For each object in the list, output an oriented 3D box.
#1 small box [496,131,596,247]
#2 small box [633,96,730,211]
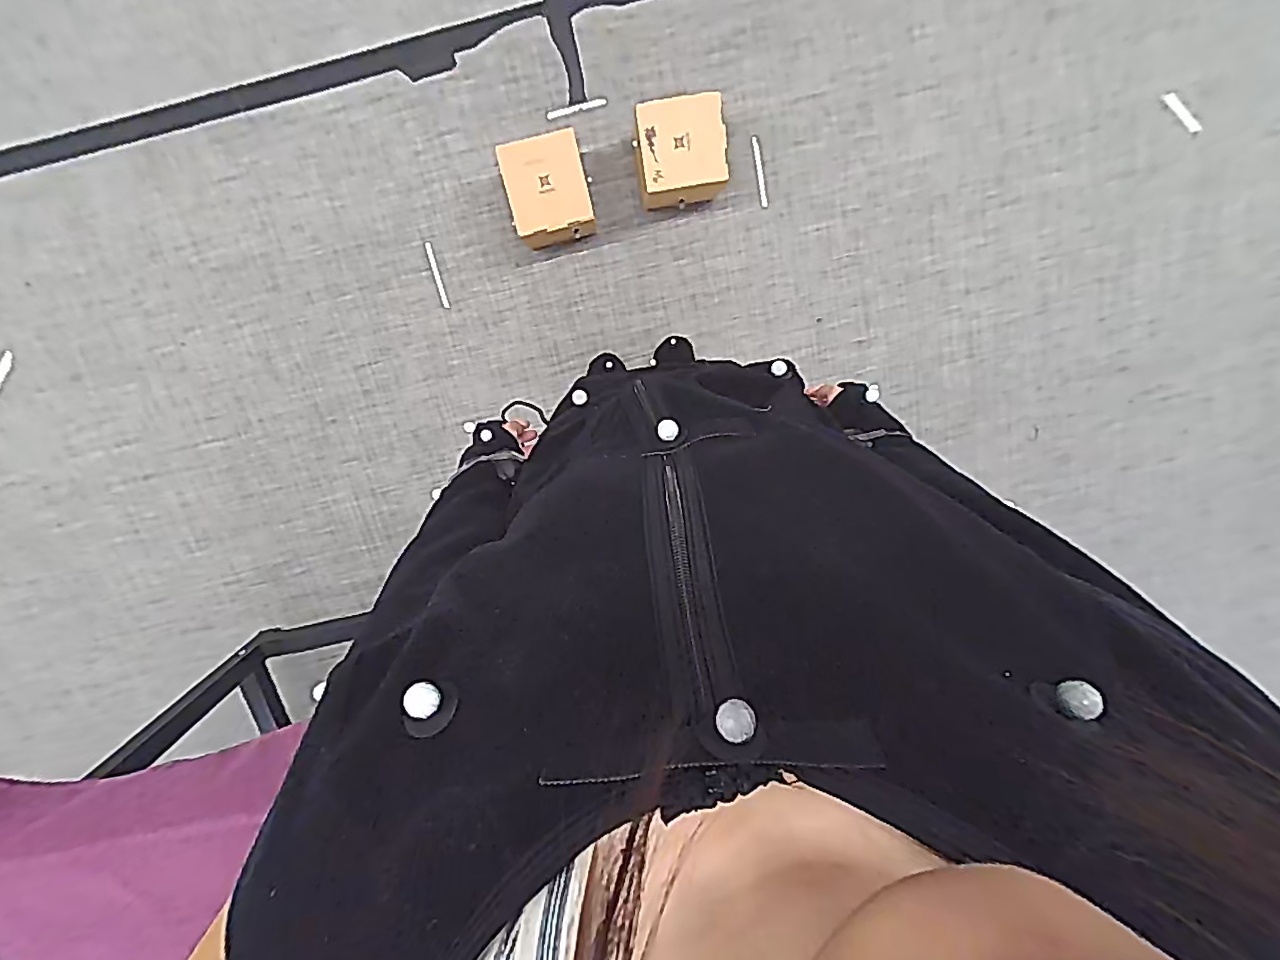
[{"bbox_3d":[-0.195,-0.621,1.181,0.168,0.176,0.179,-15,104,-1],"label":"small box"},{"bbox_3d":[0.085,-0.701,1.176,0.179,0.176,0.168,-9,106,-2],"label":"small box"}]
